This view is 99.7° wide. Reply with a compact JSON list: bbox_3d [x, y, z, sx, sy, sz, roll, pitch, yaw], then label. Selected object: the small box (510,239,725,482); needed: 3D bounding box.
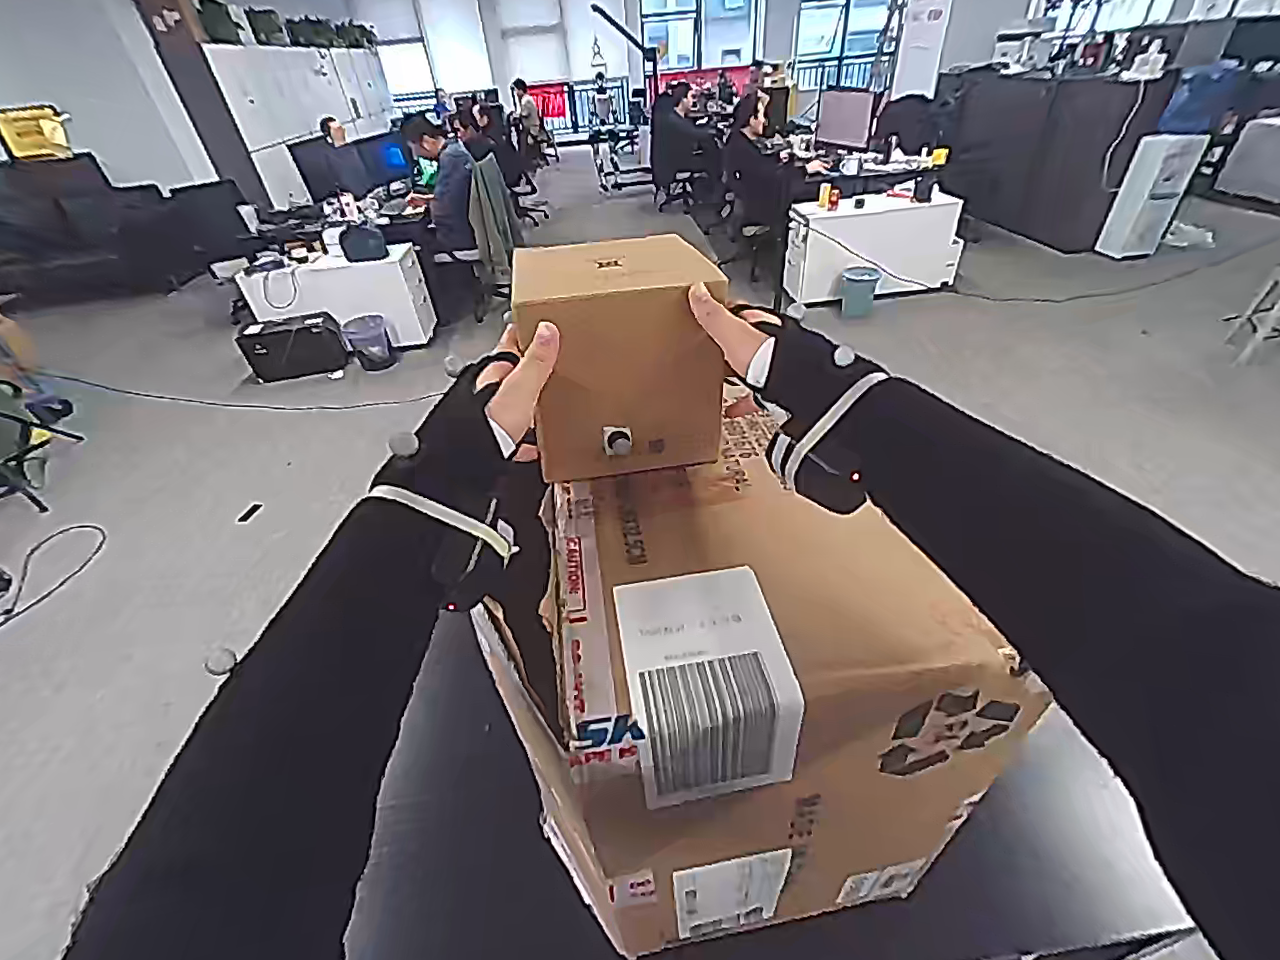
[{"bbox_3d":[-0.025,-0.119,0.517,0.168,0.176,0.179,-9,36,-6],"label":"small box"}]
